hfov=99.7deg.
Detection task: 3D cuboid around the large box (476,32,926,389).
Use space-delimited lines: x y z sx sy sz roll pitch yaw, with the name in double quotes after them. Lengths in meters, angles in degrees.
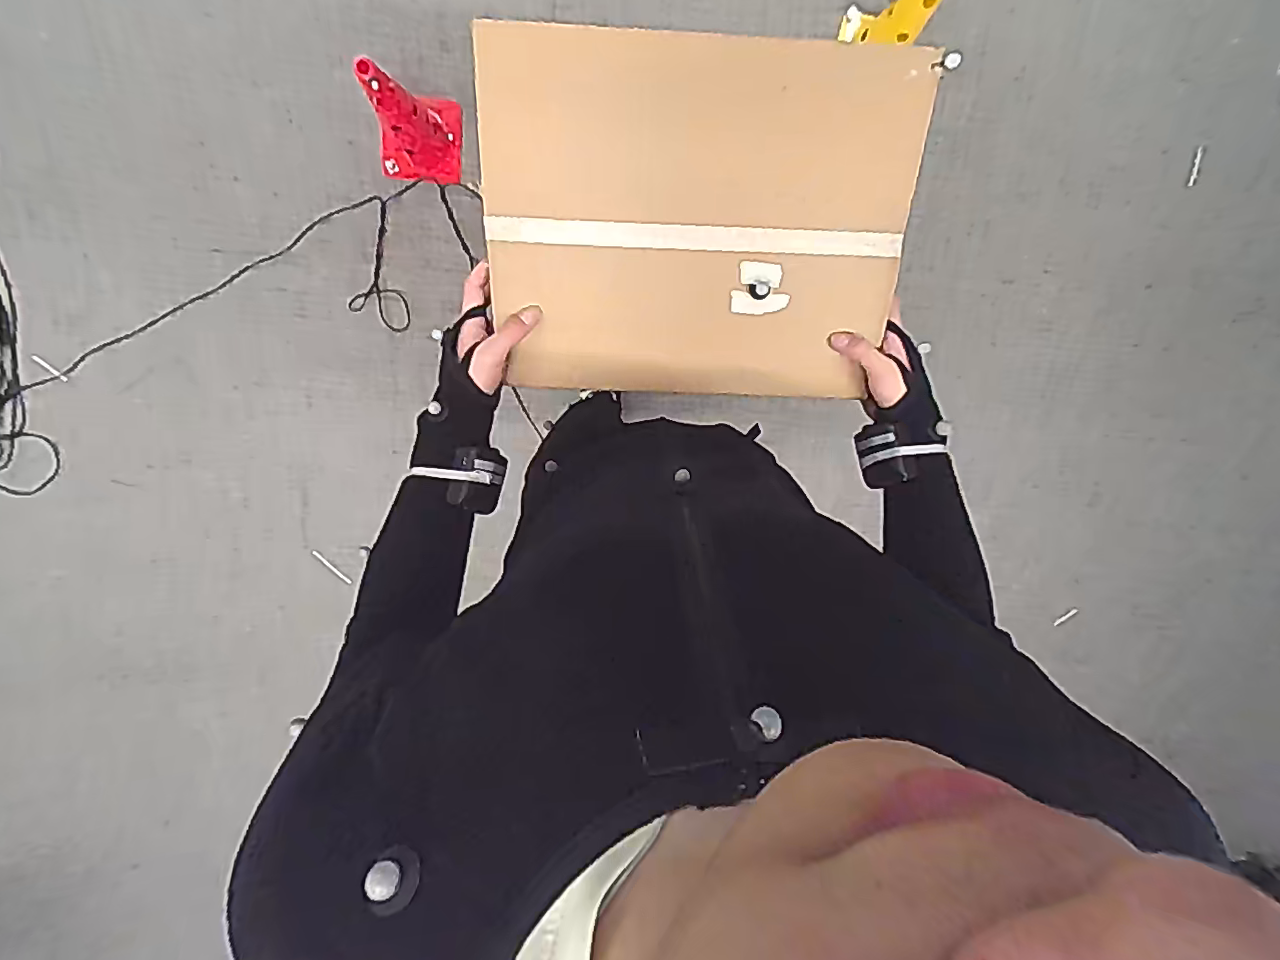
0.047 -0.302 0.665 0.408 0.320 0.320 1 115 -3 "large box"
